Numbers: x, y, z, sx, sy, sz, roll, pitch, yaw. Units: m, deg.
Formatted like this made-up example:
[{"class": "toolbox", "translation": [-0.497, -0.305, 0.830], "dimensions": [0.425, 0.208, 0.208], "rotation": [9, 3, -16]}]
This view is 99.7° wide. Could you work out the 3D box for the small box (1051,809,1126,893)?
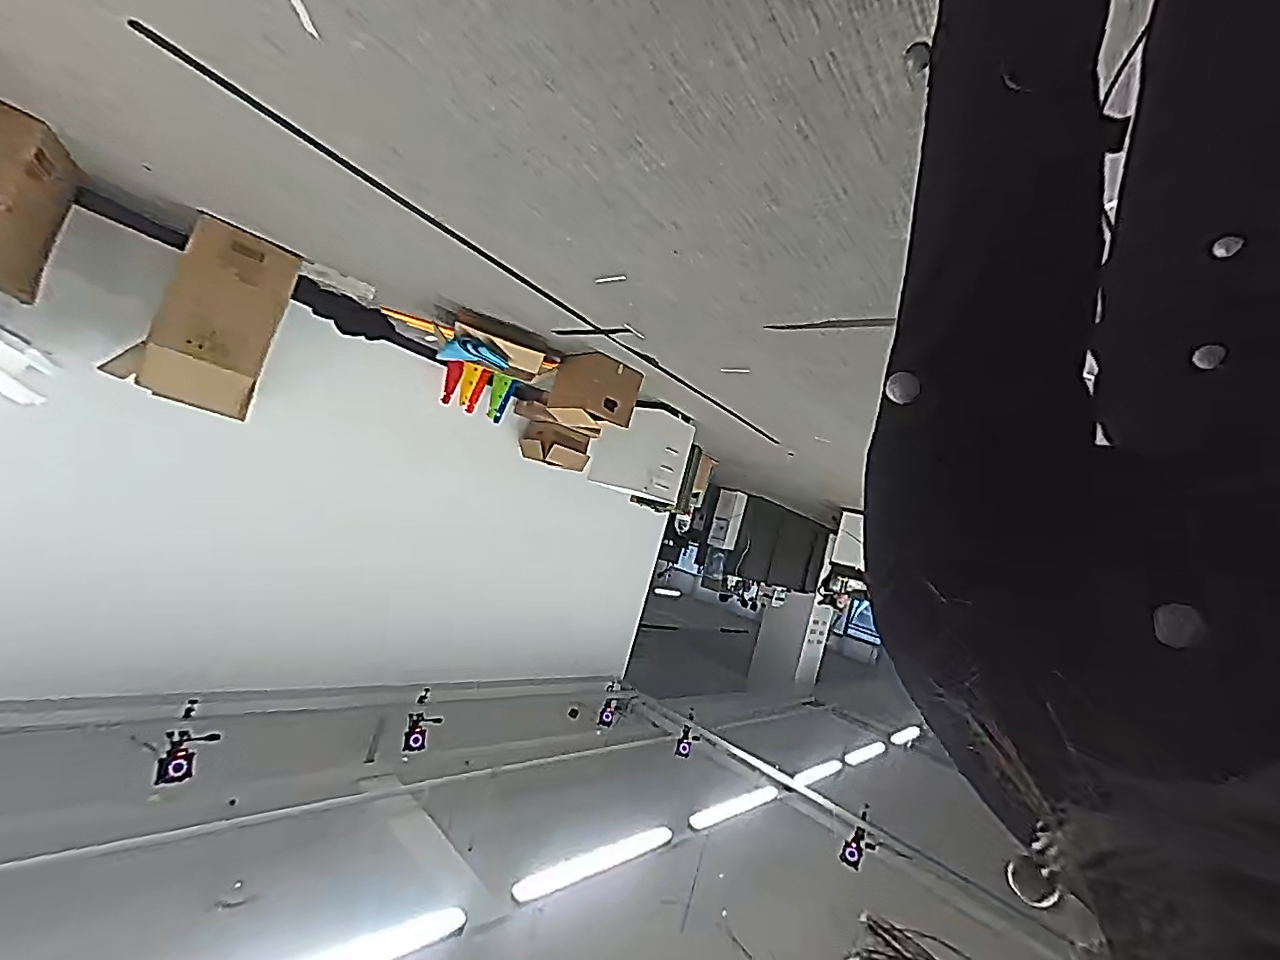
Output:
[{"class": "small box", "translation": [1.564, 1.283, 1.885], "dimensions": [0.179, 0.176, 0.168], "rotation": [20, 175, -41]}]
